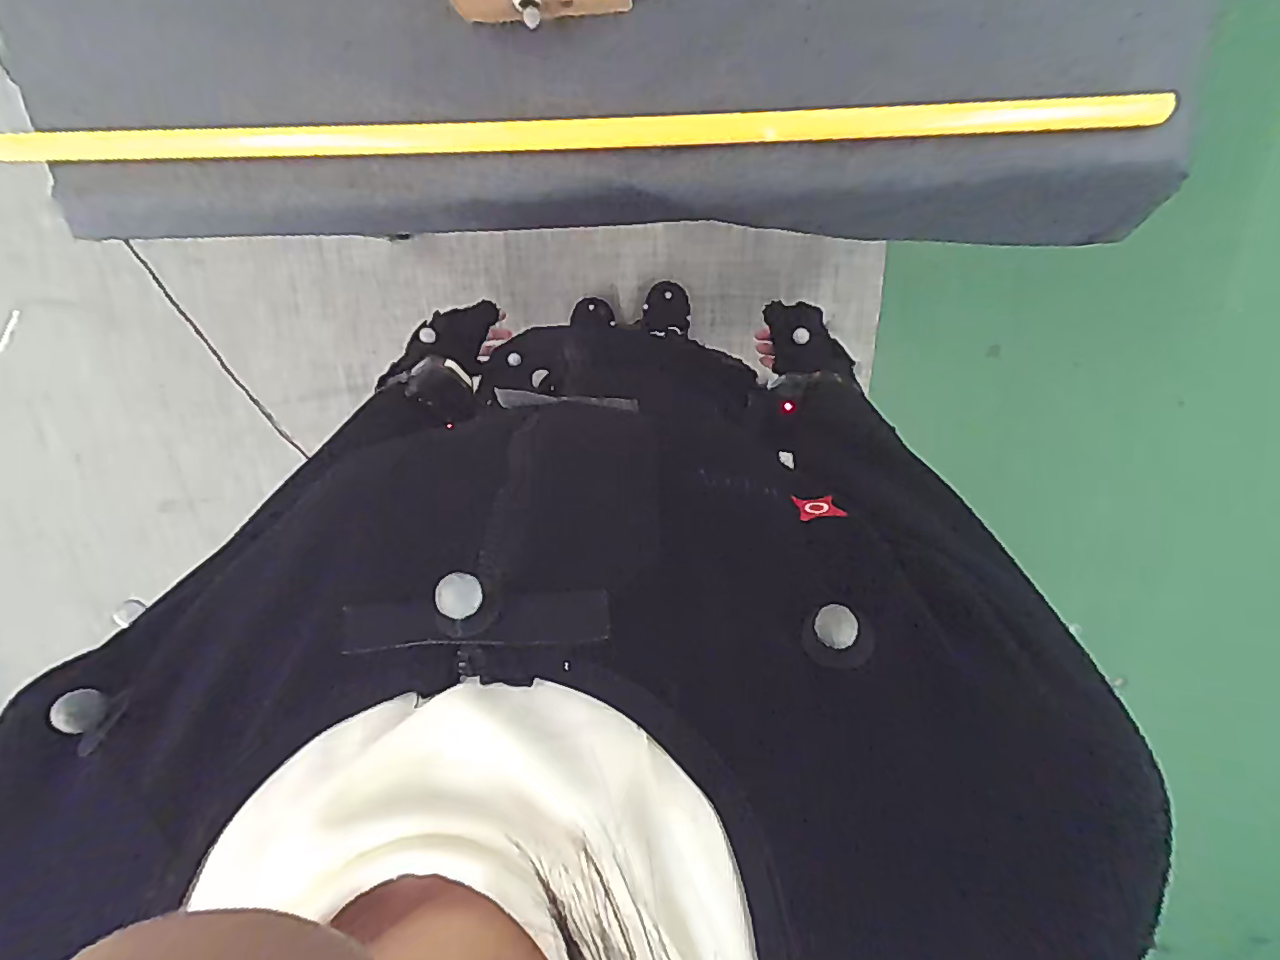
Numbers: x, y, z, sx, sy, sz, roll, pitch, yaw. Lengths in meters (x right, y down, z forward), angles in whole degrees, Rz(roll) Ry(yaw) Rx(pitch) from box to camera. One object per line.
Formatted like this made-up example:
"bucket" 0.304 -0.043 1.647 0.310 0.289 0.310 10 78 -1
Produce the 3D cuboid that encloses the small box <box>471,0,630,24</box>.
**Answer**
"small box" -0.096 -0.516 0.435 0.168 0.176 0.179 -2 111 5
